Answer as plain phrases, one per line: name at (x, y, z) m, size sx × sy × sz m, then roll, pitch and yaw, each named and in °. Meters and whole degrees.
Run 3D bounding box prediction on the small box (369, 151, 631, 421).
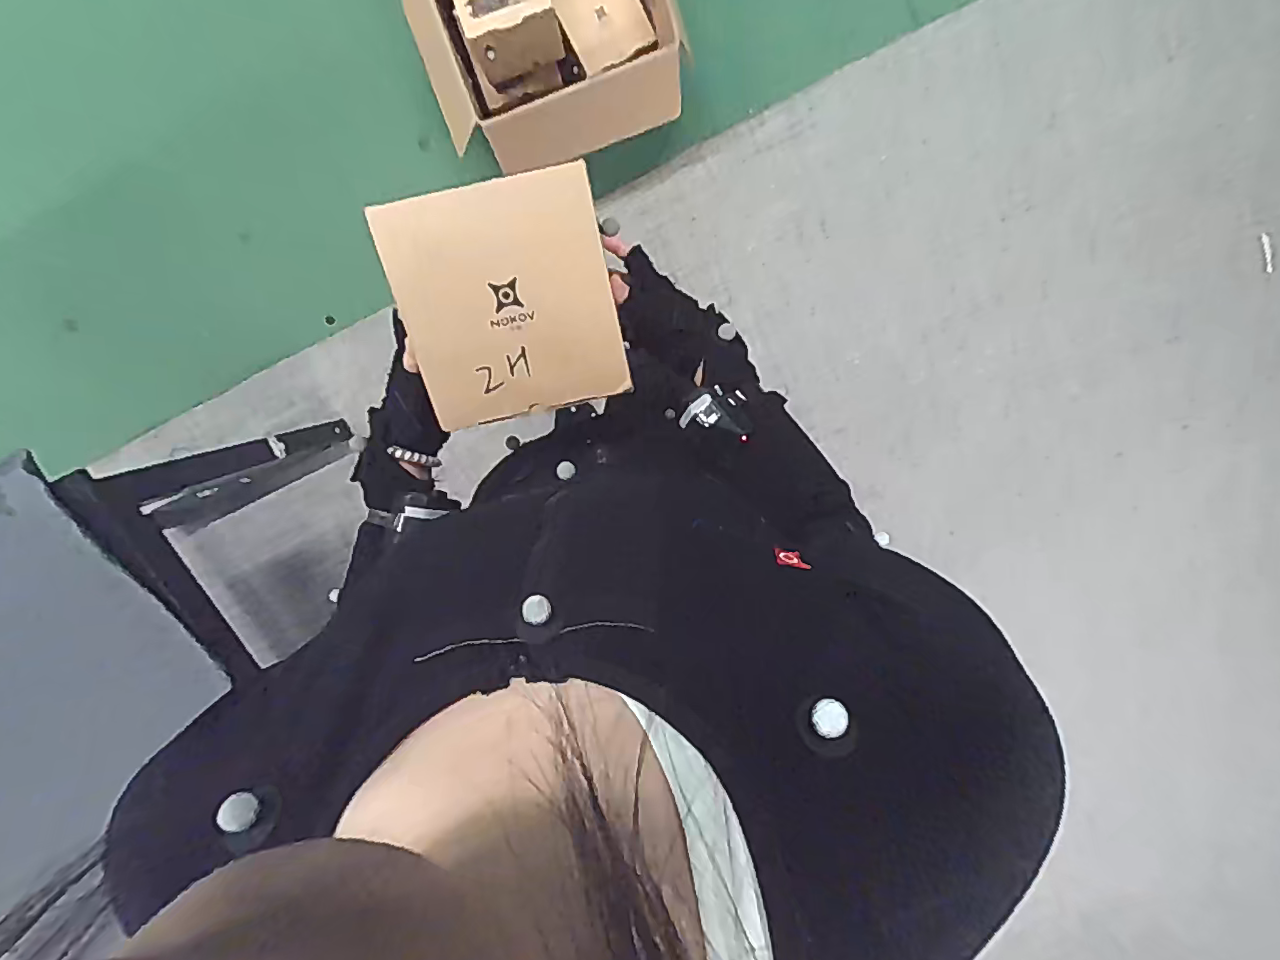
small box at (-0.108, -0.170, 0.493) m, size 0.168 × 0.176 × 0.179 m, roll -12°, pitch 111°, yaw 0°
